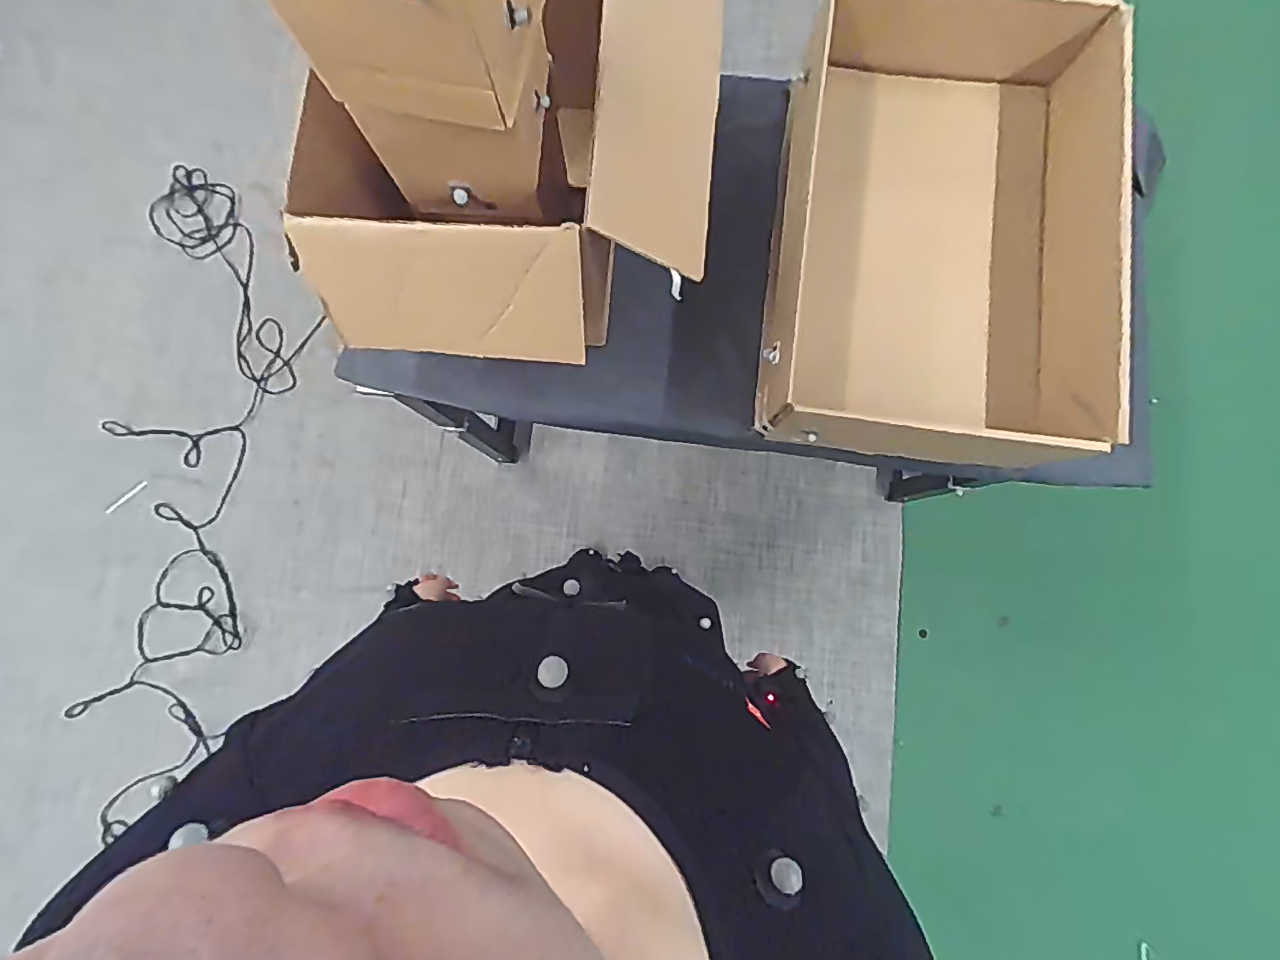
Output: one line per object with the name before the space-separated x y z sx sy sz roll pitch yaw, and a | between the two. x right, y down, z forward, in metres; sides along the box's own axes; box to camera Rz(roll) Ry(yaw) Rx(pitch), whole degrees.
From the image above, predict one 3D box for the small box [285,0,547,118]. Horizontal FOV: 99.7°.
small box | -0.188 -0.438 0.440 0.179 0.176 0.168 11 84 1
